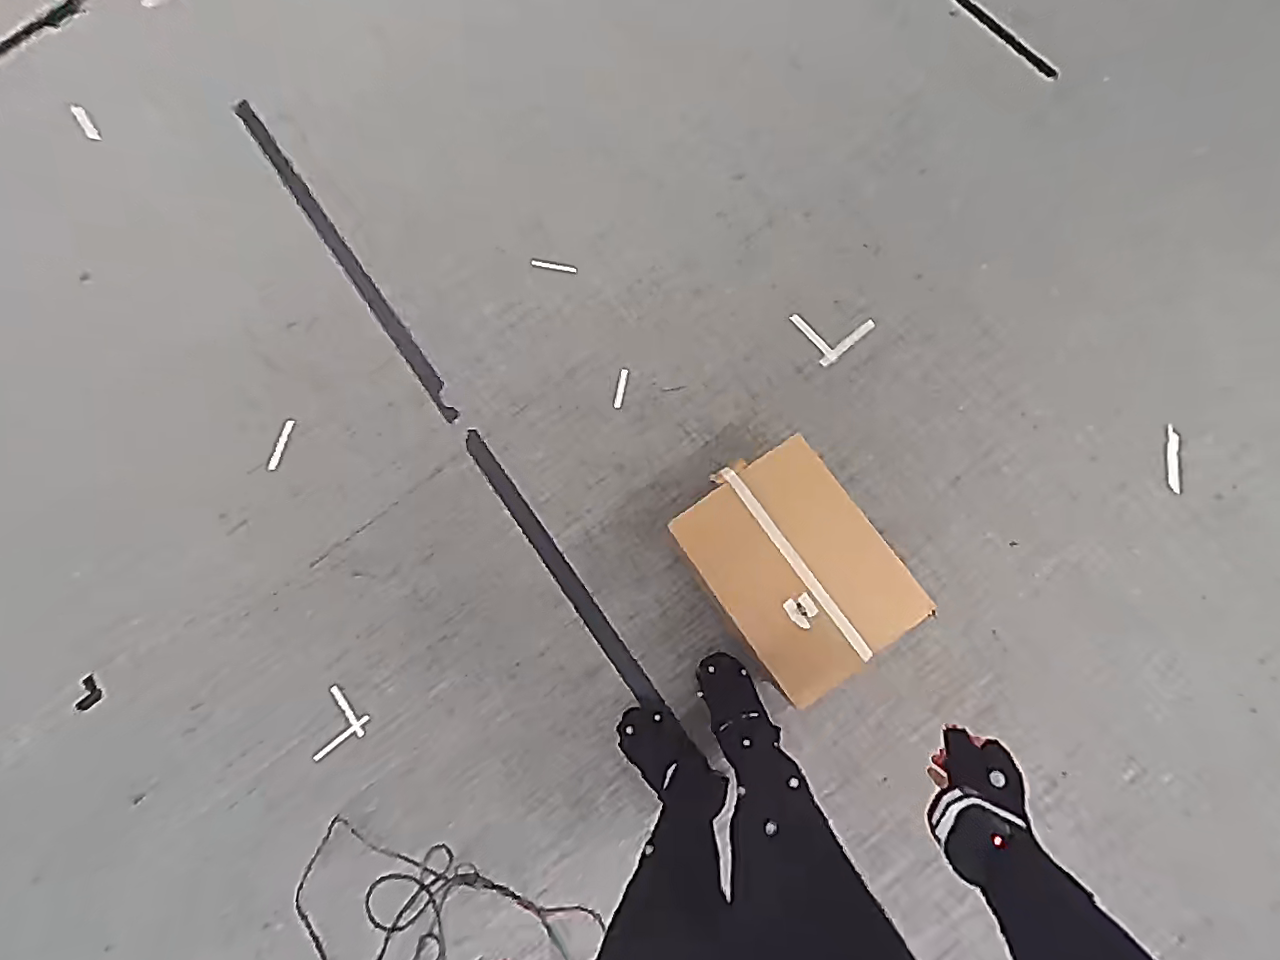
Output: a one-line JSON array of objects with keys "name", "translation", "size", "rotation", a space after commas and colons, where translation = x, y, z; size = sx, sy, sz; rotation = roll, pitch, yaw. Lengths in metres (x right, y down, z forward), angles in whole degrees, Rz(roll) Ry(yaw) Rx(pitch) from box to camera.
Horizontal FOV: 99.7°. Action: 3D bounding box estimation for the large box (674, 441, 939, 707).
[{"name": "large box", "translation": [0.311, 0.189, 1.147], "size": [0.320, 0.320, 0.408], "rotation": [-35, 80, -3]}]
